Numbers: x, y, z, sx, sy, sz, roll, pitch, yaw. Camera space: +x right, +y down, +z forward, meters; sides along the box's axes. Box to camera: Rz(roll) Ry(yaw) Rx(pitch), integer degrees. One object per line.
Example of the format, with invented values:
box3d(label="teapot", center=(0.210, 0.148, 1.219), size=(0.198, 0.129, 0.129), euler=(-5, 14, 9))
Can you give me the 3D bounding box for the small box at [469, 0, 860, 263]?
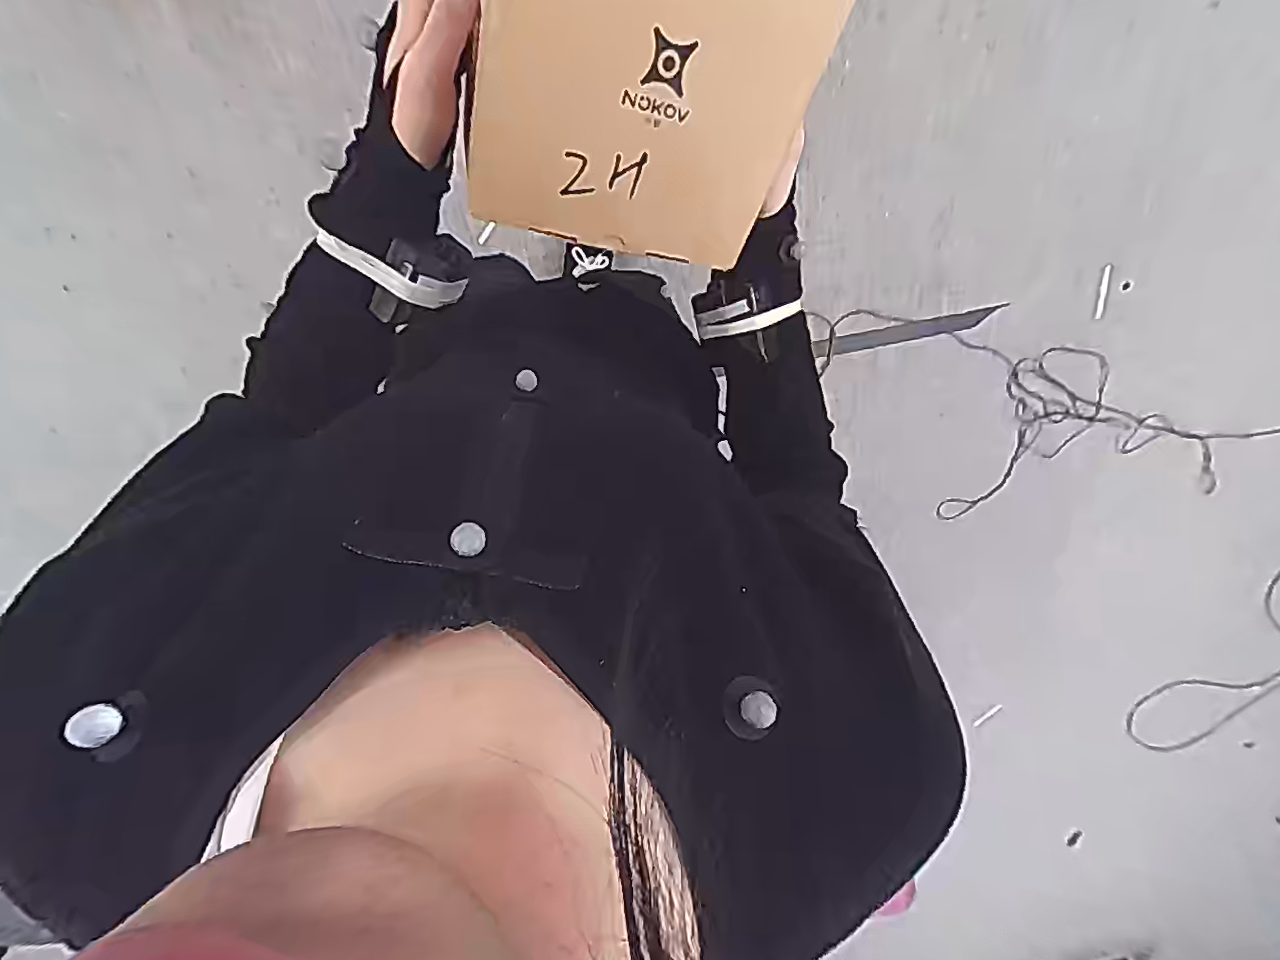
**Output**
box3d(label="small box", center=(-0.004, -0.262, 0.314), size=(0.168, 0.176, 0.179), euler=(2, 138, -23))
